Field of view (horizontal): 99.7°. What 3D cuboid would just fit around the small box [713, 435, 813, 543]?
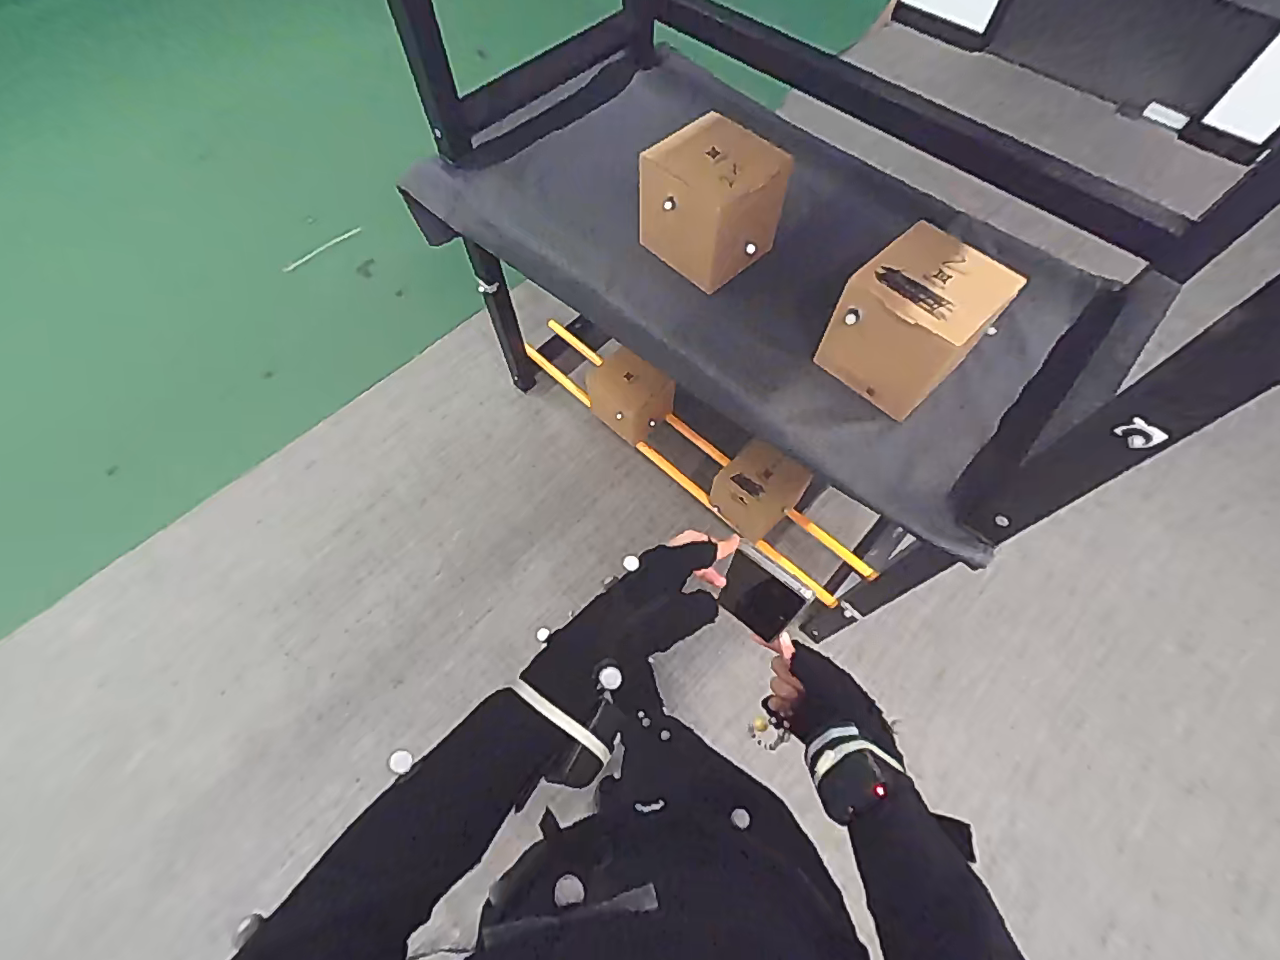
[{"bbox_3d":[0.296,0.029,1.346,0.179,0.176,0.168,-40,70,-17],"label":"small box"}]

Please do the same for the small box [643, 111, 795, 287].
[{"bbox_3d":[0.119,-0.456,0.891,0.168,0.176,0.179,-40,70,-17],"label":"small box"}]
